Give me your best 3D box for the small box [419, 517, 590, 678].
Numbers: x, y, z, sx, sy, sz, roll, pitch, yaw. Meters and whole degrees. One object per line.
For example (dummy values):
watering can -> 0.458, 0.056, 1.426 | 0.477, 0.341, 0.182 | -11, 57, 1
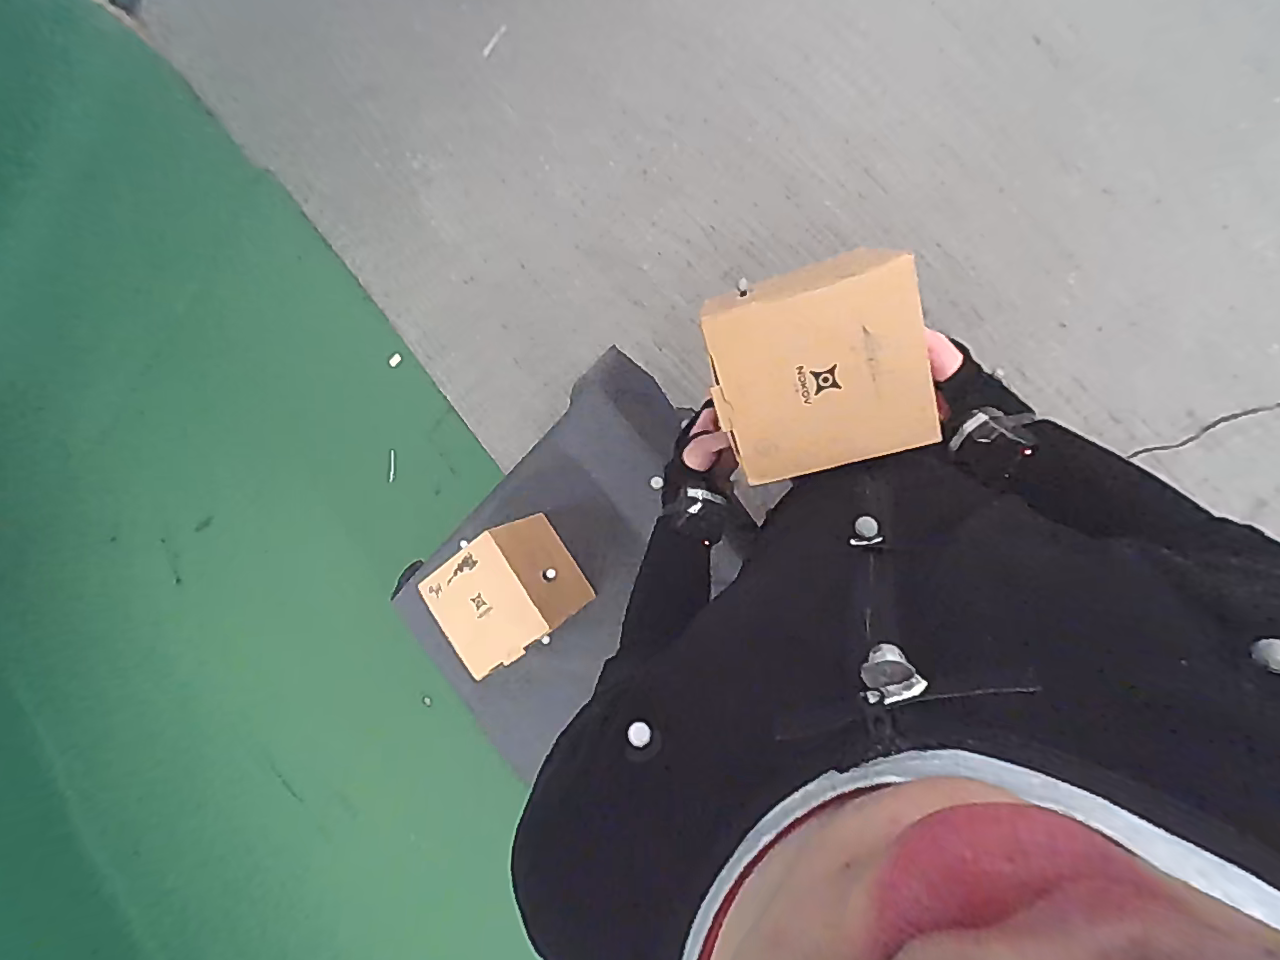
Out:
small box -> -0.210, 0.181, 0.883 | 0.168, 0.176, 0.179 | -36, 84, 18

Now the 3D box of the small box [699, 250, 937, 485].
small box -> 0.167, -0.118, 0.542 | 0.179, 0.176, 0.168 | -15, 112, 14
